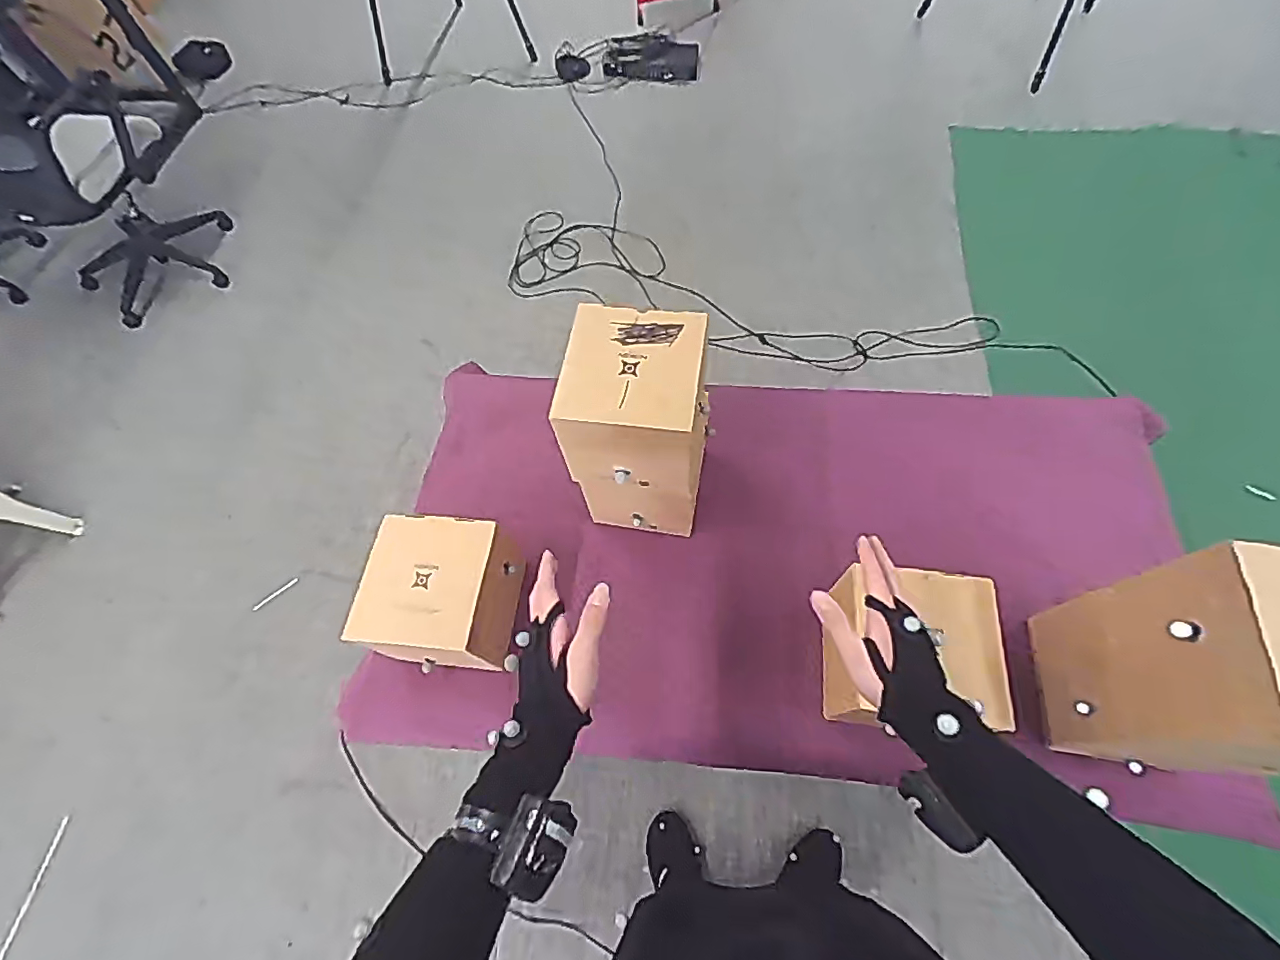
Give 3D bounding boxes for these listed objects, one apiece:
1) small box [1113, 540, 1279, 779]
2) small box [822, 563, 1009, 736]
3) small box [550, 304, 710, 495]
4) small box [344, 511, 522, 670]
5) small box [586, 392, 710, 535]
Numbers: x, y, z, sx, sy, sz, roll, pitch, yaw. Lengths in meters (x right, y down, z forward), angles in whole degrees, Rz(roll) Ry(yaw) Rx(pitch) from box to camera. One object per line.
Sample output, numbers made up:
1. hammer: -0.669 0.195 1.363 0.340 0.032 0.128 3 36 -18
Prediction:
1. small box: 0.608 0.179 0.519 0.168 0.176 0.179 7 63 9
2. small box: 0.340 0.226 0.704 0.168 0.176 0.179 6 62 8
3. small box: -0.005 -0.101 0.708 0.168 0.176 0.179 7 65 8
4. small box: -0.279 0.163 0.780 0.168 0.176 0.179 4 63 7
5. small box: 0.013 -0.032 0.857 0.168 0.176 0.179 8 65 9
